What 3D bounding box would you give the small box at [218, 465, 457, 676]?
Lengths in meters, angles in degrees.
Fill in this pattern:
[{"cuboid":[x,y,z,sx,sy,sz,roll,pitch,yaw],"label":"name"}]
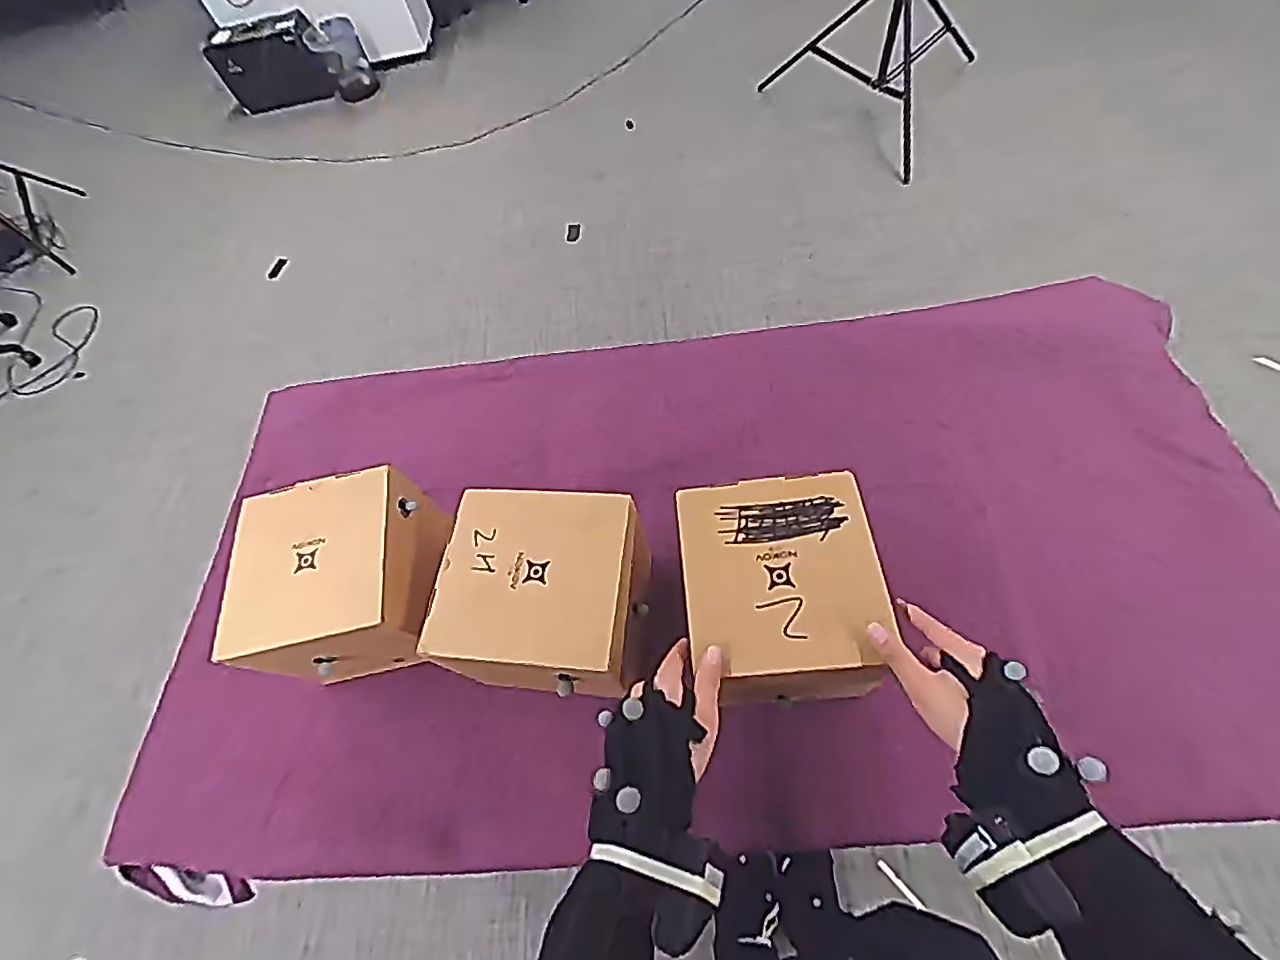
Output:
[{"cuboid":[-0.319,0.113,0.611,0.168,0.176,0.179,-14,60,1],"label":"small box"}]
